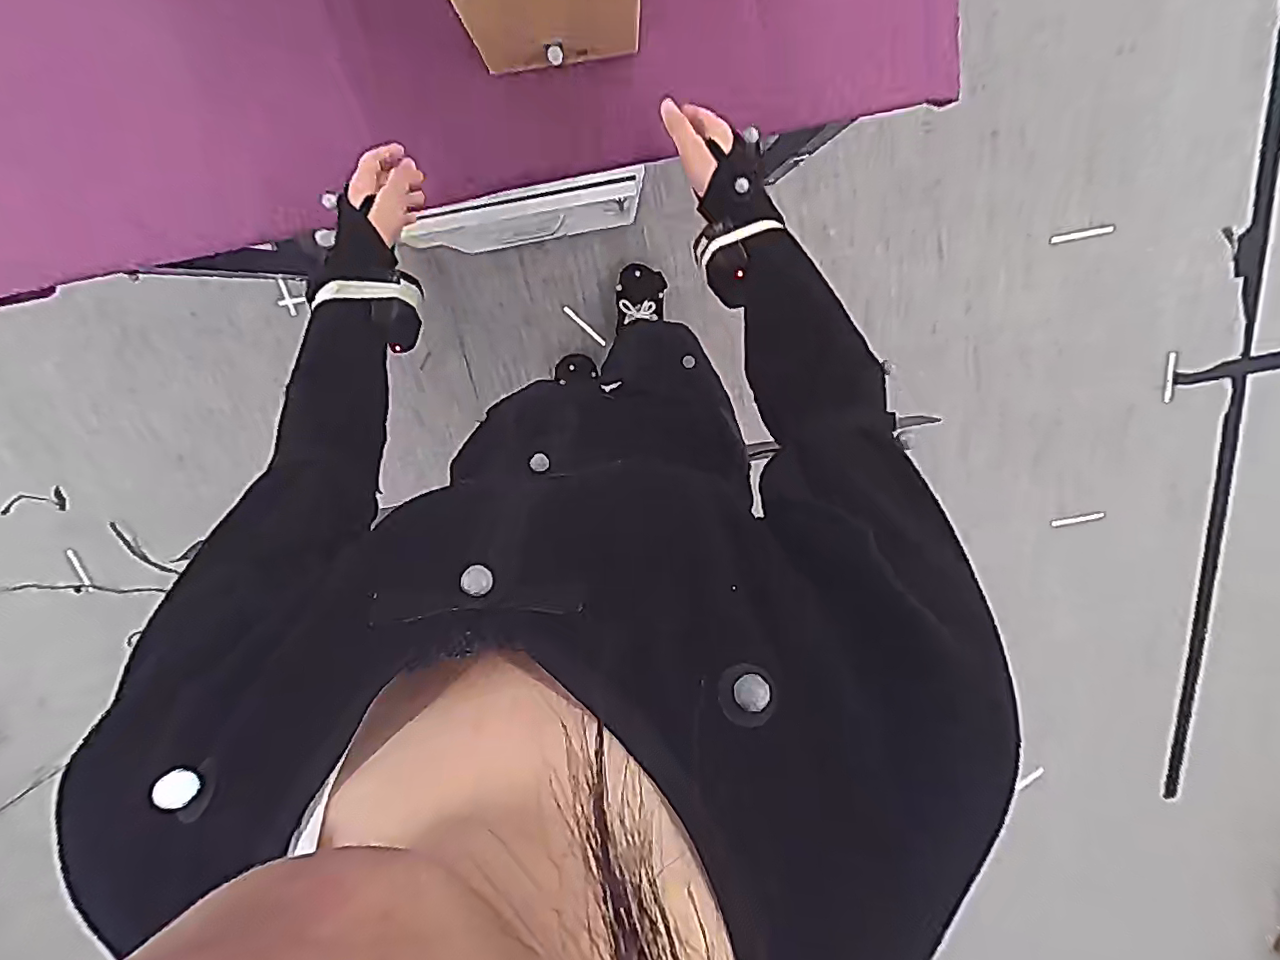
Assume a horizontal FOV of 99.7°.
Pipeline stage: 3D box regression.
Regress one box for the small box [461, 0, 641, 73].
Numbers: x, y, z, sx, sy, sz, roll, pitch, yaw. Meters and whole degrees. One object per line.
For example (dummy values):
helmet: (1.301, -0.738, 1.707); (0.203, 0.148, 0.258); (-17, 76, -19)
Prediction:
small box: (-0.091, -0.515, 0.492); (0.168, 0.176, 0.179); (-7, 108, 1)
